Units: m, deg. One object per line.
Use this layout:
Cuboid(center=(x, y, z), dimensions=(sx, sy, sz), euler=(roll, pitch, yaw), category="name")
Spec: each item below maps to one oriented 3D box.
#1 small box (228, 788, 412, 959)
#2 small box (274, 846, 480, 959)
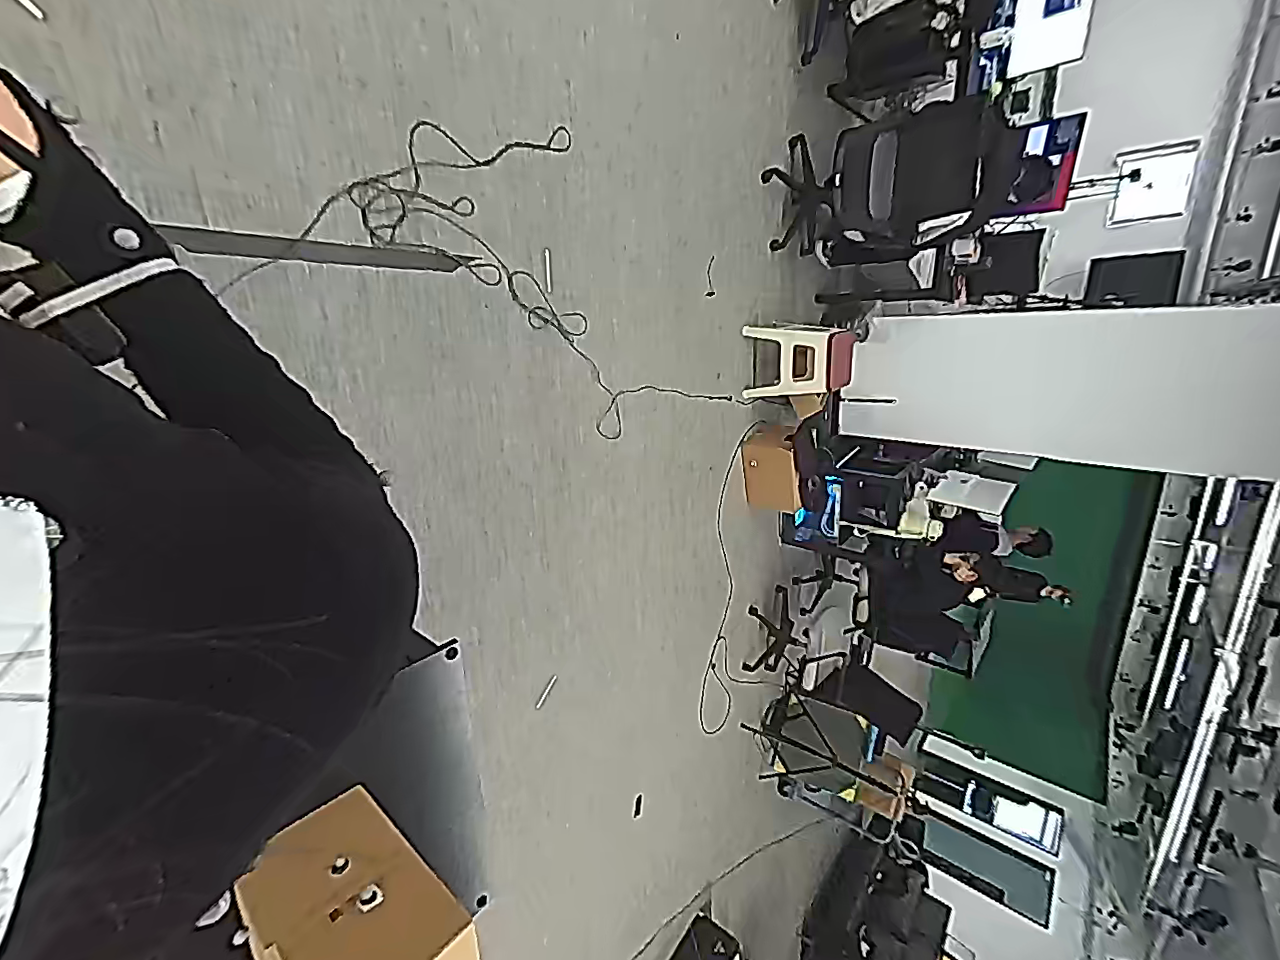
Cuboid(center=(-0.436, 0.581, 0.757), dimensions=(0.179, 0.176, 0.168), euler=(-18, 112, -46), category="small box")
Cuboid(center=(-0.311, 0.604, 0.656), dimensions=(0.168, 0.176, 0.179), euler=(-21, 113, -48), category="small box")
